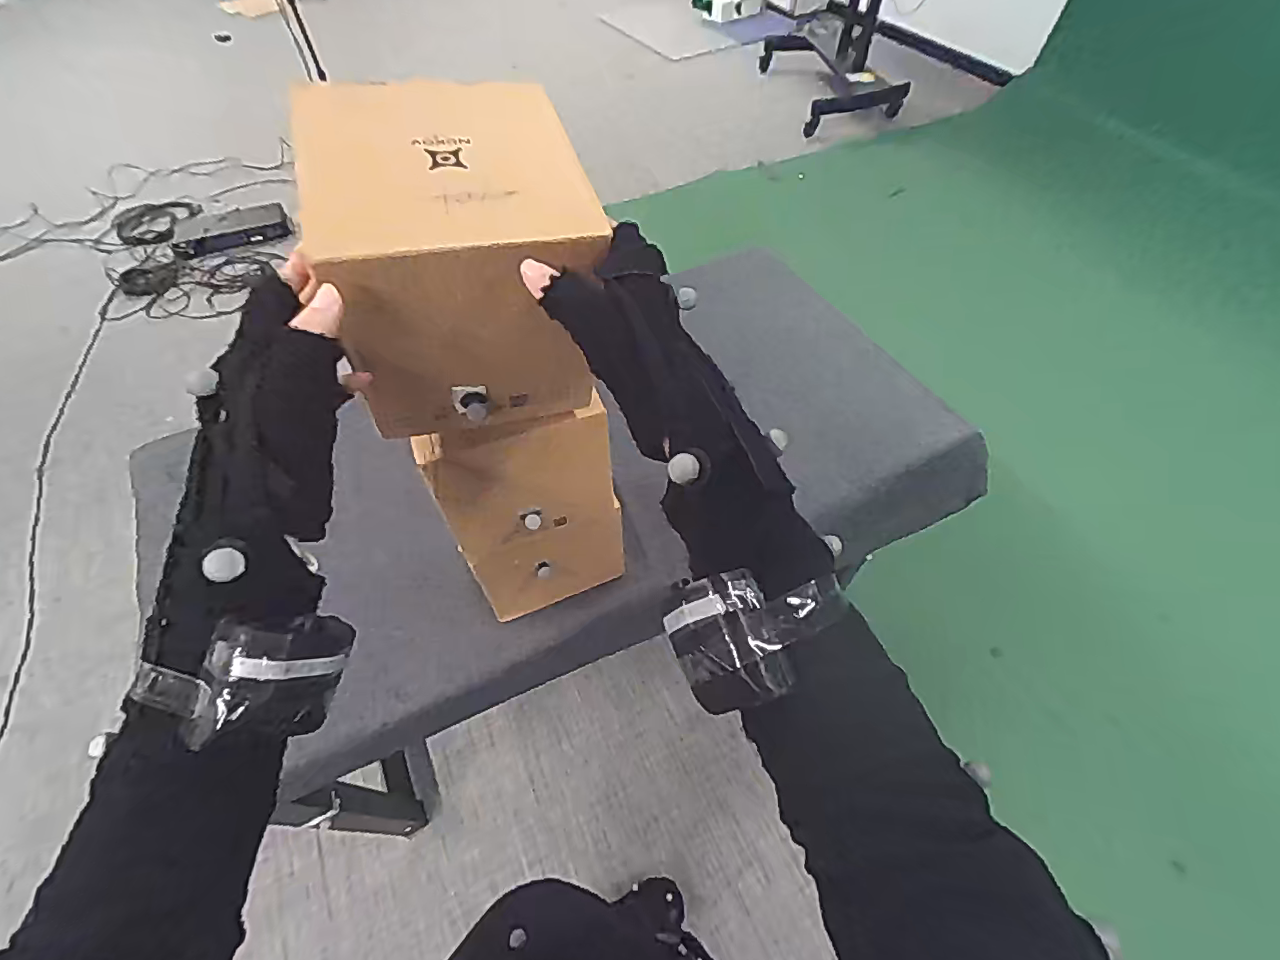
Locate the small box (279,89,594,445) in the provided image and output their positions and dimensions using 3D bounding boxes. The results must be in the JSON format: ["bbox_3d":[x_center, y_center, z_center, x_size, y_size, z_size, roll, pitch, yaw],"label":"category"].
[{"bbox_3d":[-0.140,-0.153,0.399,0.168,0.176,0.179,-13,62,-16],"label":"small box"}]

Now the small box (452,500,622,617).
[{"bbox_3d":[-0.135,0.050,0.694,0.179,0.176,0.168,-21,56,-12],"label":"small box"}]

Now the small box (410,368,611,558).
[{"bbox_3d":[-0.139,-0.051,0.564,0.168,0.176,0.179,-20,54,-13],"label":"small box"}]
